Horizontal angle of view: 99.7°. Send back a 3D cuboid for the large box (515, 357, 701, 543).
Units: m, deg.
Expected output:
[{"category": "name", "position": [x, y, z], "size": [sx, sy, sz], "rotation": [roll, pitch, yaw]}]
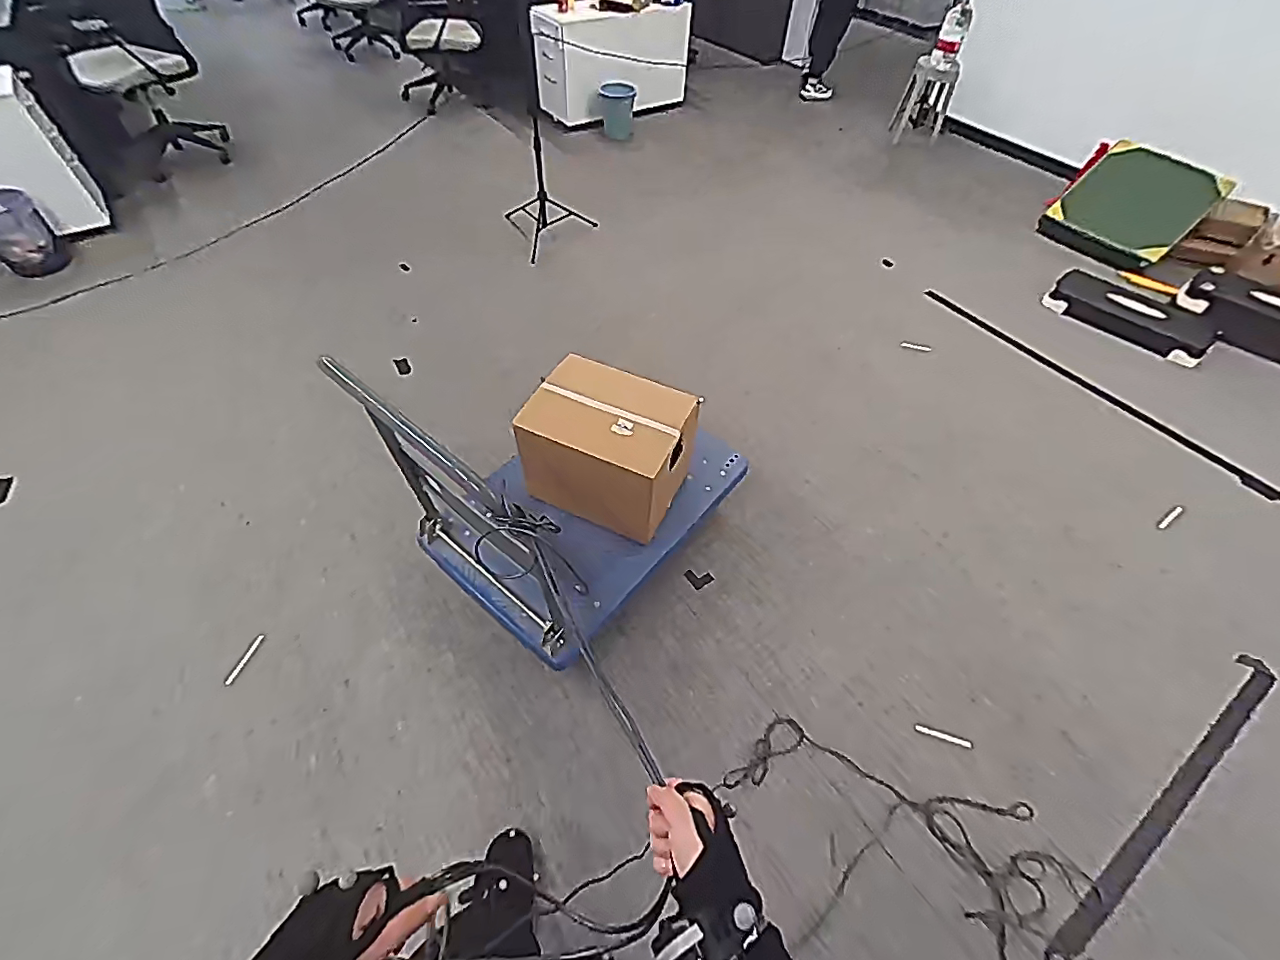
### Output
[{"category": "large box", "position": [-0.087, -0.084, 1.522], "size": [0.408, 0.320, 0.320], "rotation": [22, 55, 13]}]
